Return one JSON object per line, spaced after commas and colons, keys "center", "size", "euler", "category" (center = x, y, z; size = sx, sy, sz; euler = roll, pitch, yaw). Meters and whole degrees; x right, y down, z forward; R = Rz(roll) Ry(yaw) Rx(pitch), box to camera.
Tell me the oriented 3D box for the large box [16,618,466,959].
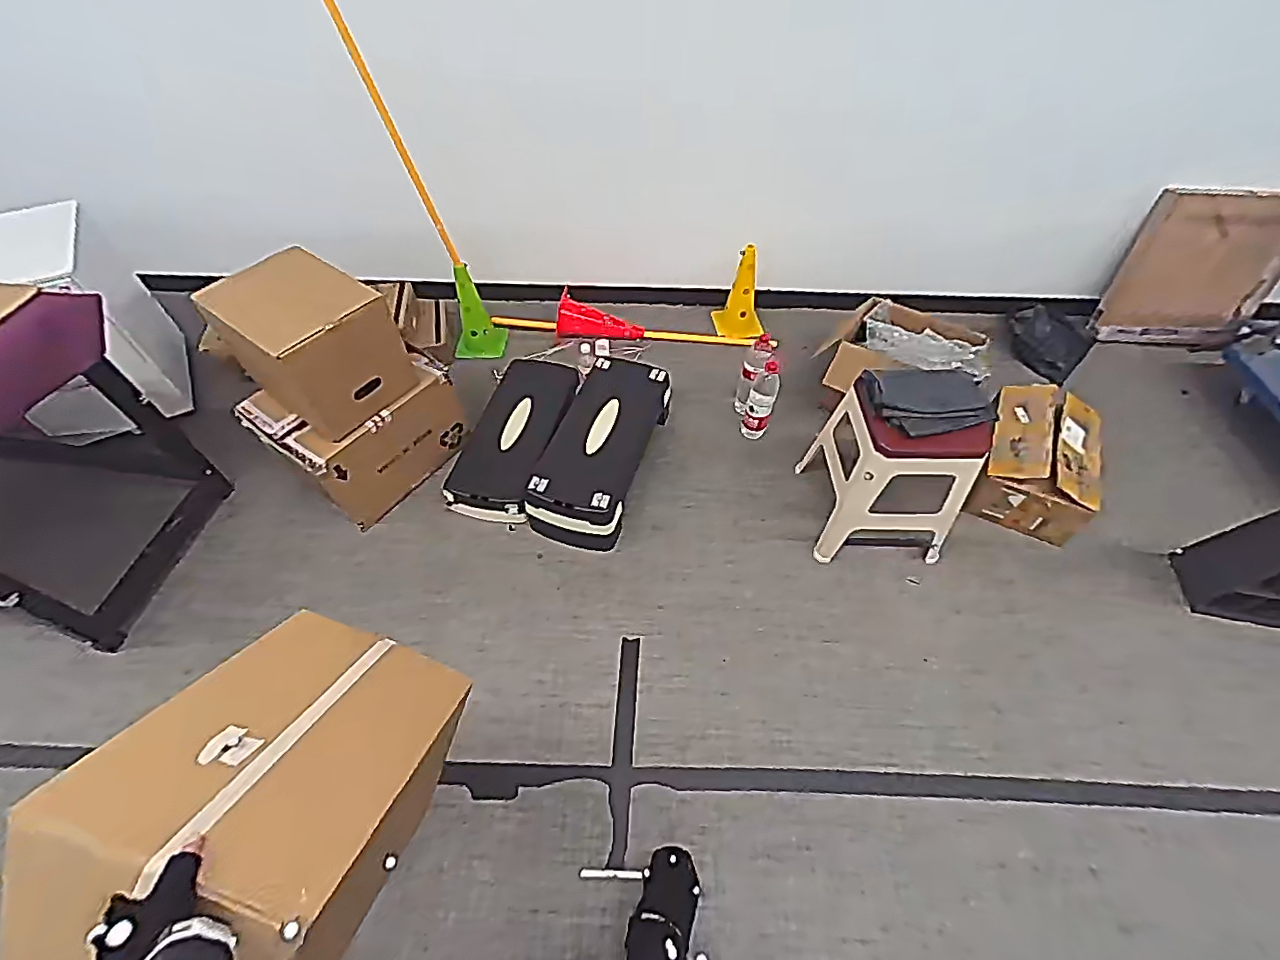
{"center": [-0.506, 0.472, 0.765], "size": [0.320, 0.320, 0.408], "euler": [22, 16, 1], "category": "large box"}
